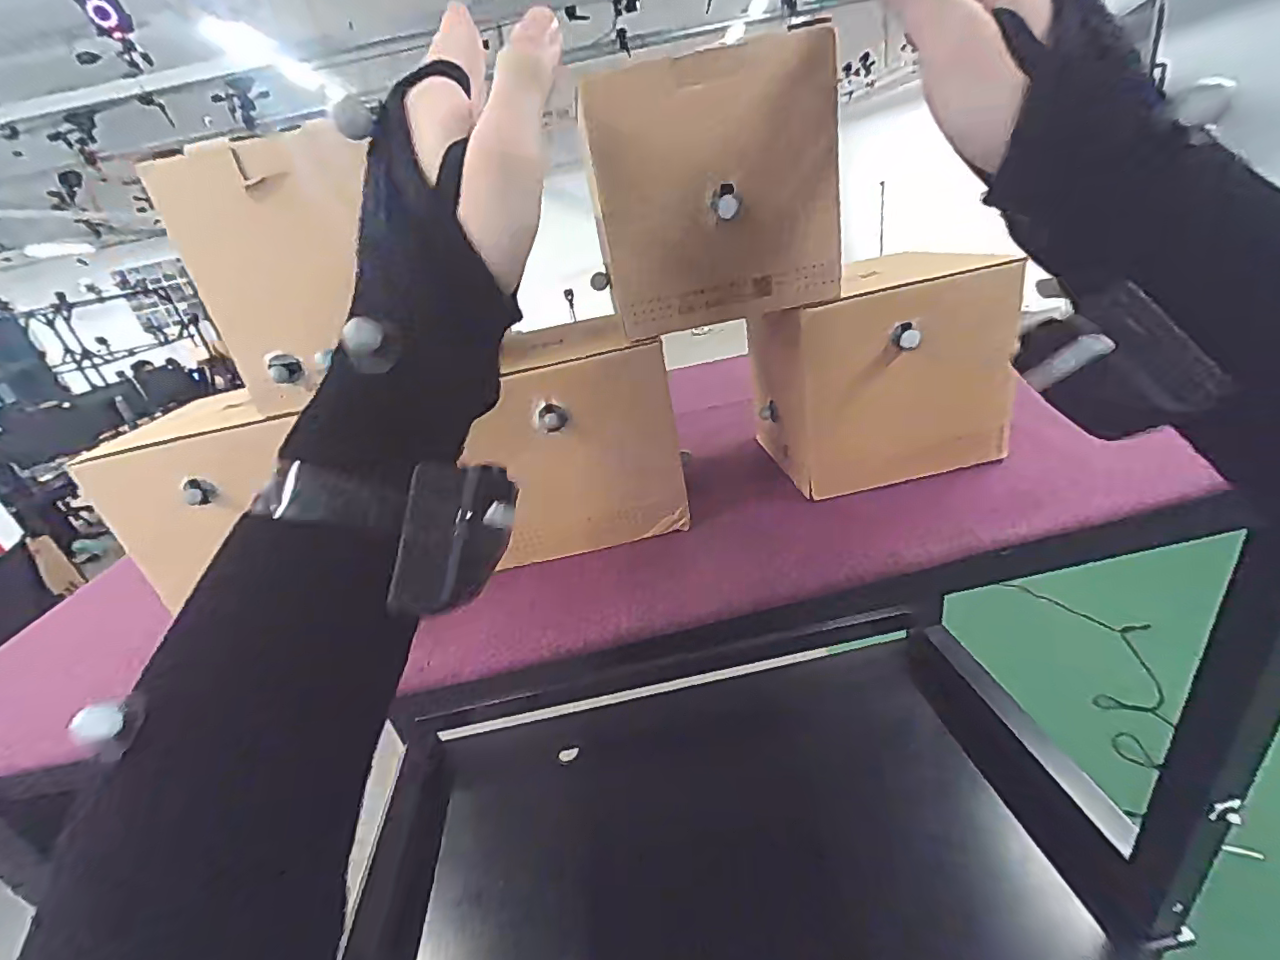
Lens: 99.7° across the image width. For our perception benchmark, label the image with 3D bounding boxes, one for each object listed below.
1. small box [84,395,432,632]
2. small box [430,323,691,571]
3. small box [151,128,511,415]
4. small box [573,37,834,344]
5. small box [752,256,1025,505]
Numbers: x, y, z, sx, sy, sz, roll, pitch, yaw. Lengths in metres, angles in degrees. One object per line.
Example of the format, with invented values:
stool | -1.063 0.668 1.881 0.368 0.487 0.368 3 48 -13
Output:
small box | -0.324 0.017 0.508 0.179 0.176 0.168 -13 26 -2
small box | -0.061 -0.036 0.500 0.179 0.176 0.168 -12 26 0
small box | -0.216 -0.160 0.442 0.168 0.176 0.179 -11 25 1
small box | 0.047 -0.216 0.441 0.168 0.176 0.179 -12 25 0
small box | 0.211 -0.098 0.505 0.179 0.176 0.168 -14 25 1
